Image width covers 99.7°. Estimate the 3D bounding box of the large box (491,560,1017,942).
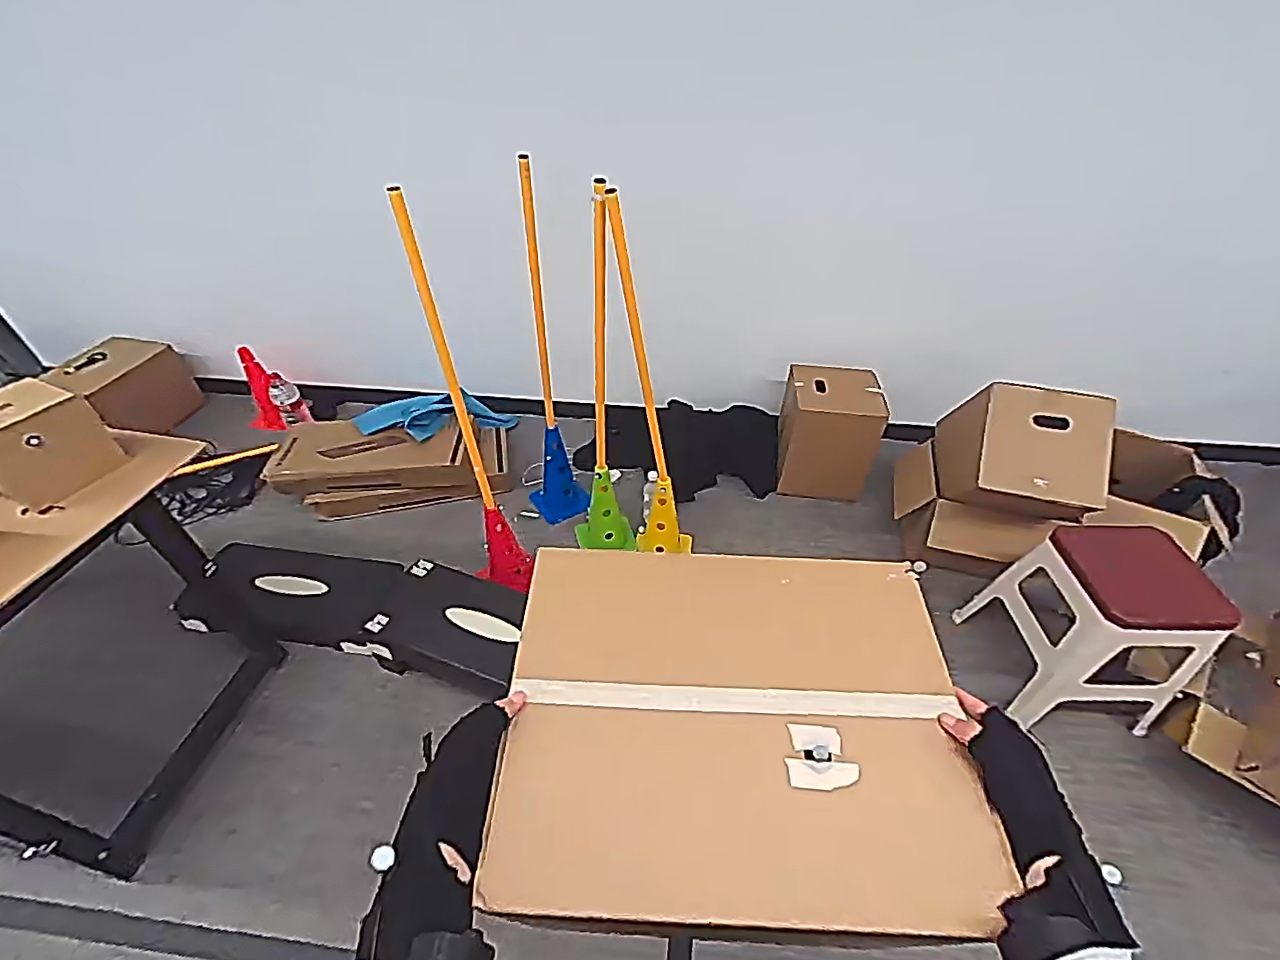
[{"bbox_3d":[0.085,0.308,0.610,0.408,0.320,0.320,3,49,1],"label":"large box"}]
